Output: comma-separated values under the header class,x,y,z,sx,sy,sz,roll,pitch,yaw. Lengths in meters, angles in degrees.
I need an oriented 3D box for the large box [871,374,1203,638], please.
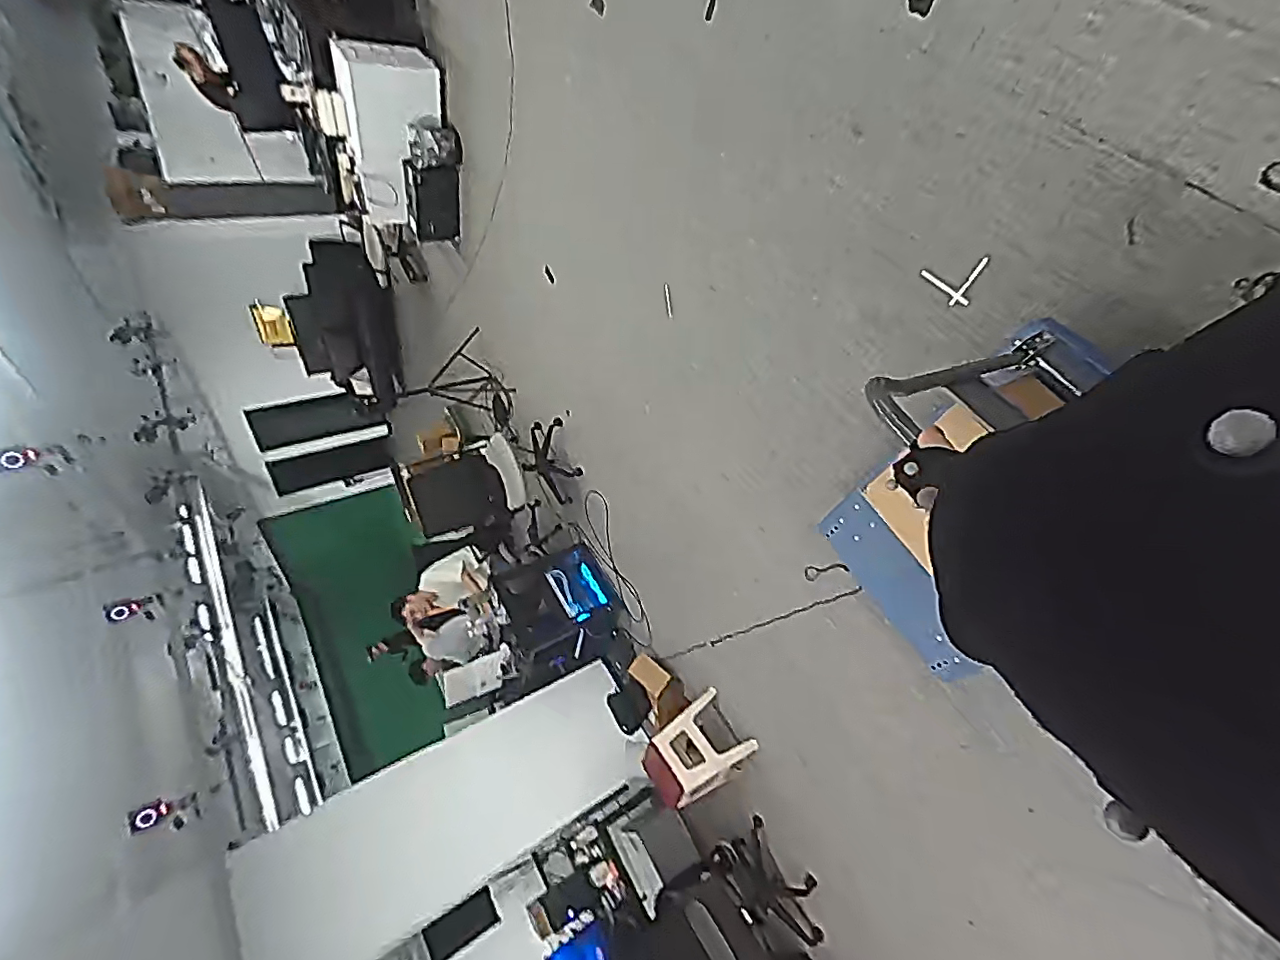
class,x,y,z,sx,sy,sz,roll,pitch,yaw
large box,0.796,0.044,1.128,0.408,0.320,0.320,58,147,24
